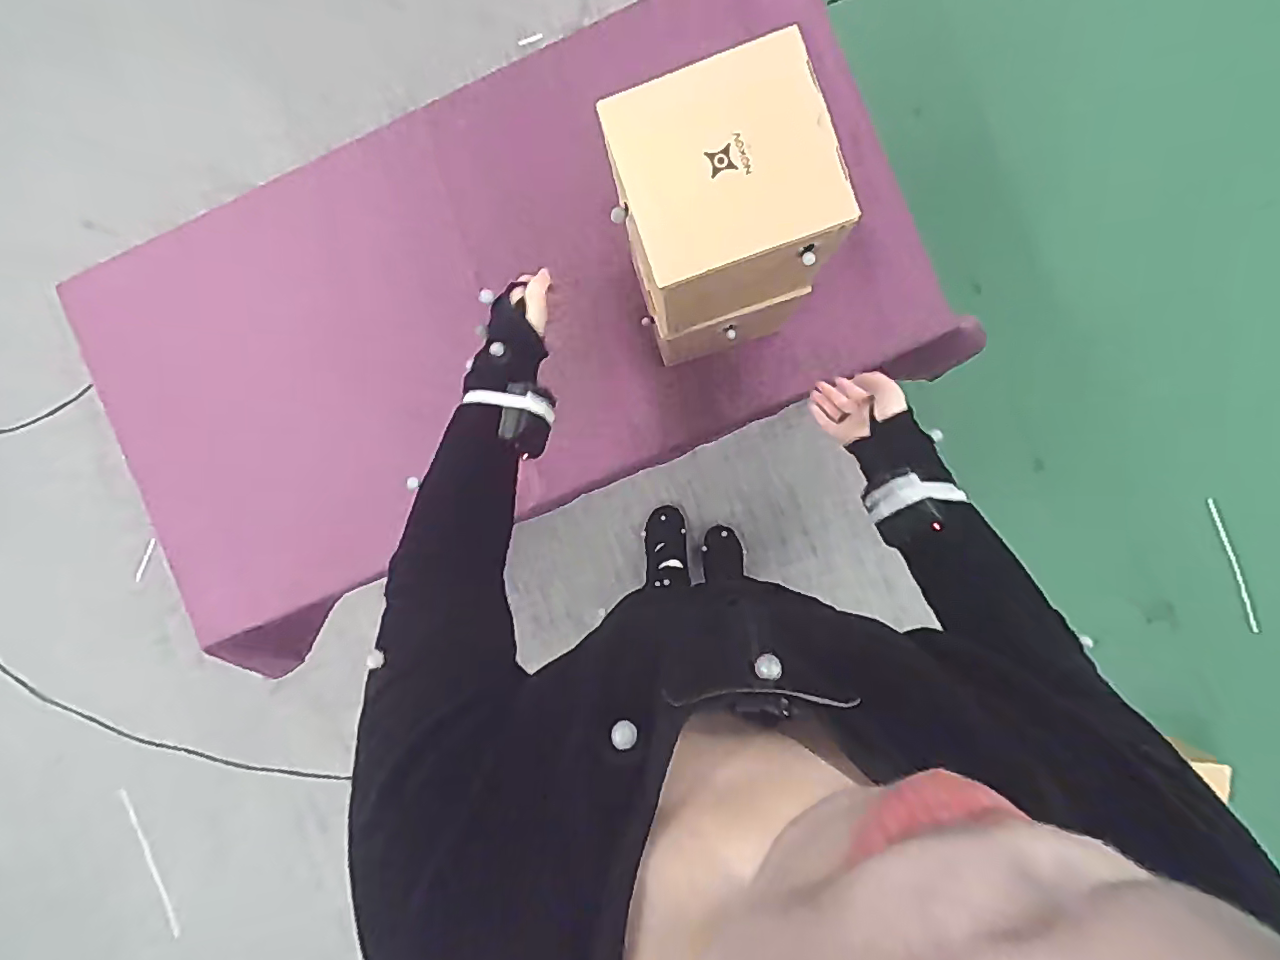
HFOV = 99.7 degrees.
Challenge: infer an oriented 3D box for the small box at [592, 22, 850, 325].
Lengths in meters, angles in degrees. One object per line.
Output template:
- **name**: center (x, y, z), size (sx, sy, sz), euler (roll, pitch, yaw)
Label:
- **small box**: center (0.071, -0.268, 0.522), size (0.179, 0.176, 0.168), euler (-18, 91, 4)

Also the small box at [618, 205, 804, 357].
- **small box**: center (0.085, -0.268, 0.683), size (0.179, 0.176, 0.168), euler (-16, 91, 4)
